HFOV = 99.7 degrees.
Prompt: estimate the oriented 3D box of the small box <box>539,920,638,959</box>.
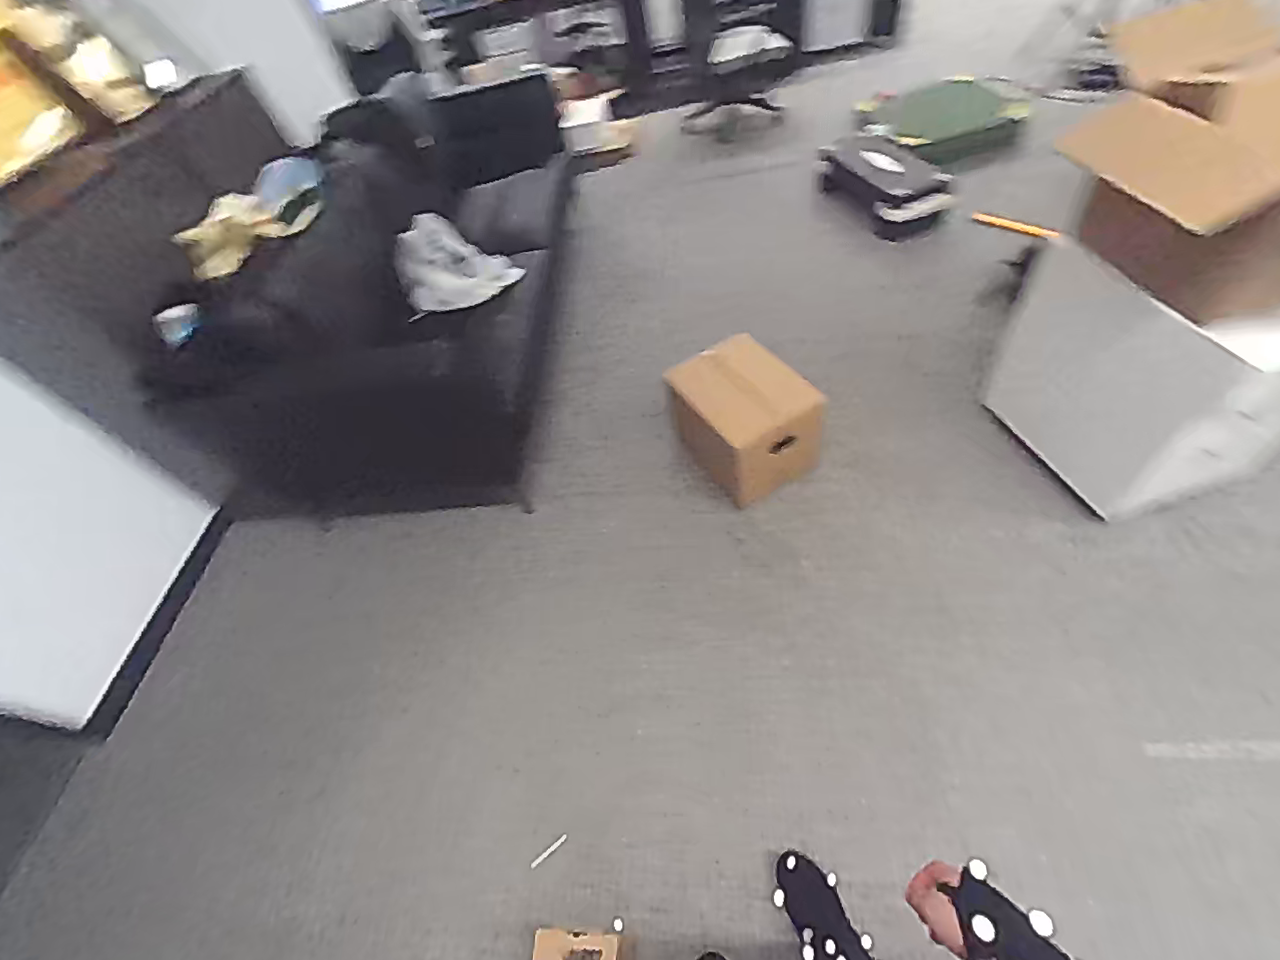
[{"bbox_3d":[-0.100,0.983,1.061,0.168,0.176,0.179,-5,53,11],"label":"small box"}]
